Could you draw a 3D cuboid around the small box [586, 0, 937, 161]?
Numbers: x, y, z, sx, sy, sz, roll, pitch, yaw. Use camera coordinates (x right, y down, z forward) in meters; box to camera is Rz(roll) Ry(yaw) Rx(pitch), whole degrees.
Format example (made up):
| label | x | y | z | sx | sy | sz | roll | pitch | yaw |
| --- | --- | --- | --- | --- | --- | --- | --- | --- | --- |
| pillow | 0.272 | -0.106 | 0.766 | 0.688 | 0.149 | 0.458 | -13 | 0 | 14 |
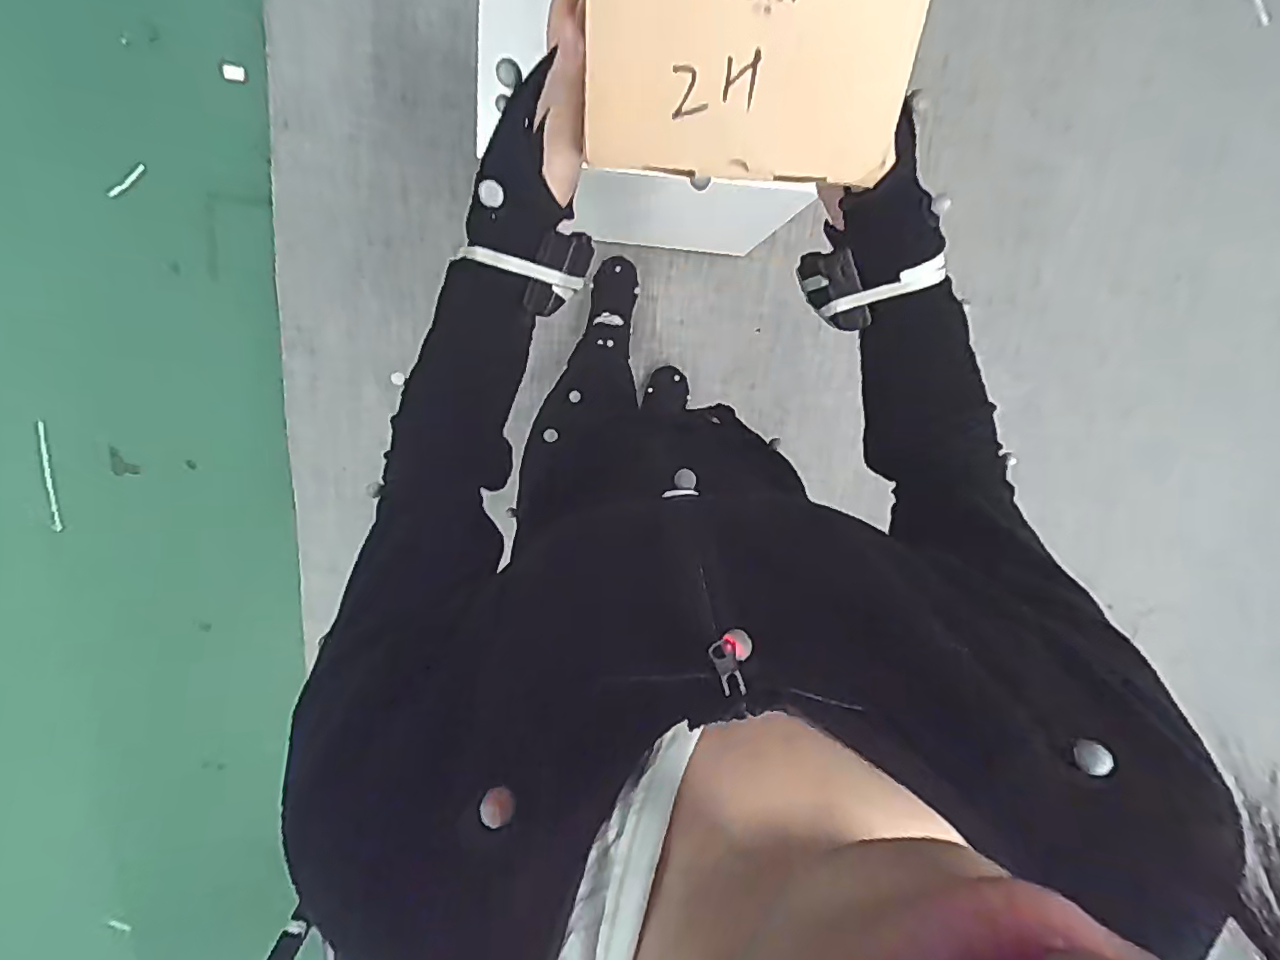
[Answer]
| label | x | y | z | sx | sy | sz | roll | pitch | yaw |
| --- | --- | --- | --- | --- | --- | --- | --- | --- | --- |
| small box | 0.054 | -0.288 | 0.303 | 0.168 | 0.176 | 0.179 | 1 | 123 | -5 |
